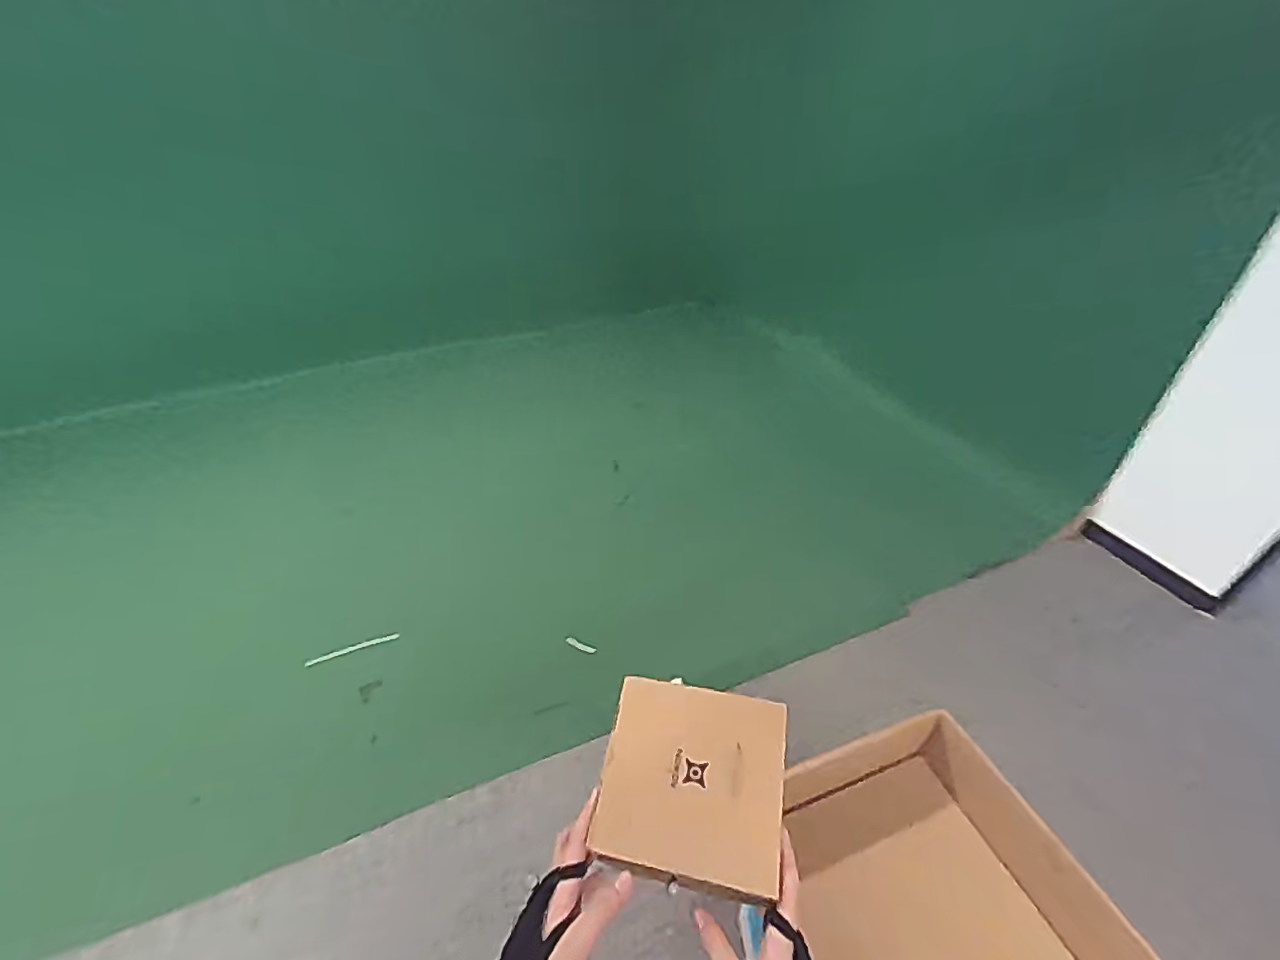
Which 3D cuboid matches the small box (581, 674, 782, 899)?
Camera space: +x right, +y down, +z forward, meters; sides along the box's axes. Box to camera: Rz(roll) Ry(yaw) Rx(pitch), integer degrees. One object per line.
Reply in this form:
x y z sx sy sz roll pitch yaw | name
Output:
0.056 0.334 0.588 0.179 0.176 0.168 5 51 13 | small box
